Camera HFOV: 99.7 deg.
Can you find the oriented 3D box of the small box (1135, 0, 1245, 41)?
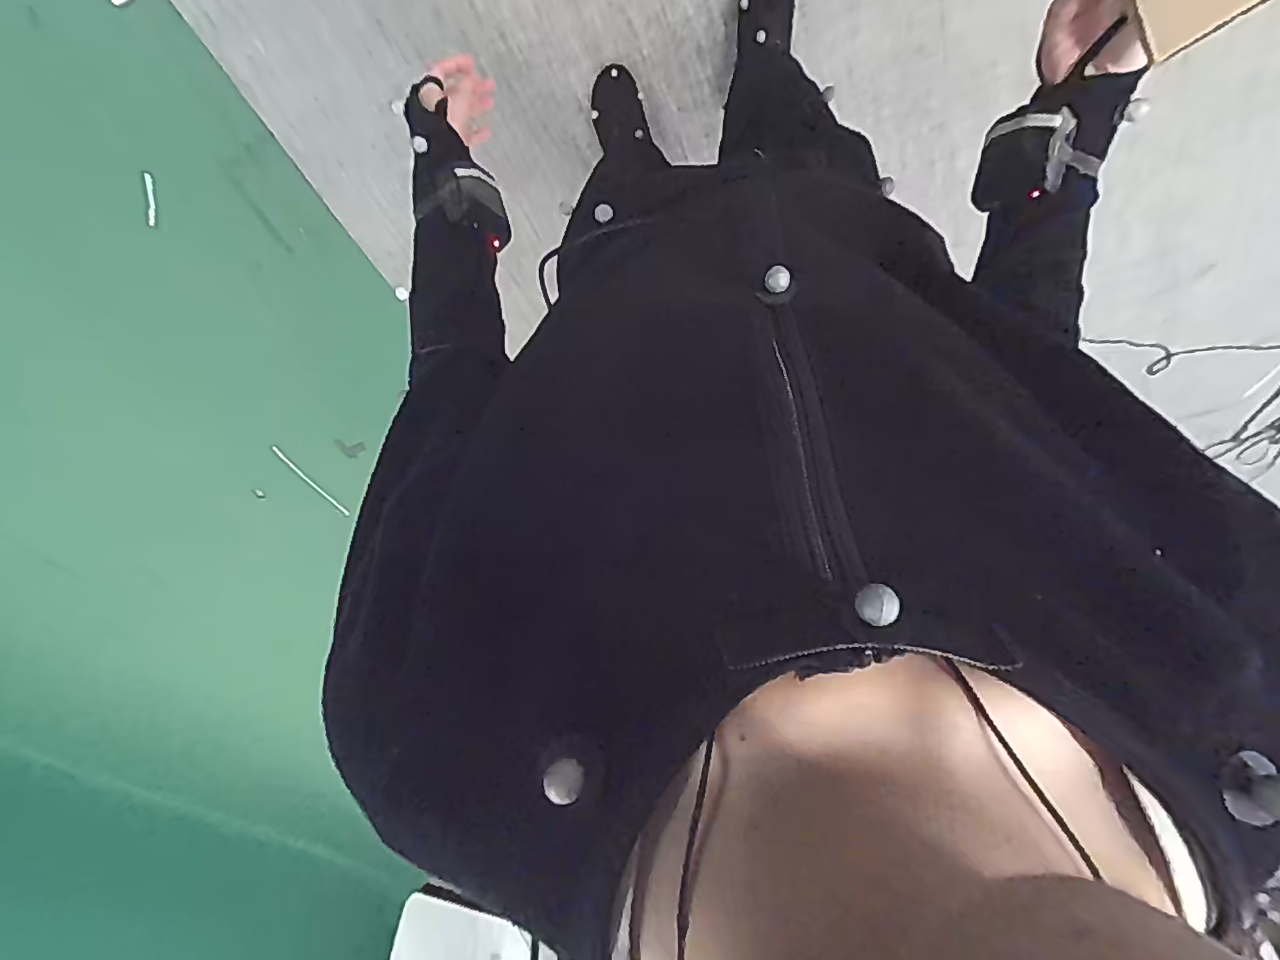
[{"bbox_3d":[0.307,-0.360,0.236,0.176,0.168,0.179,45,142,-22],"label":"small box"}]

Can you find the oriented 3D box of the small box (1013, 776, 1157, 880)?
[{"bbox_3d":[1.068,0.842,1.311,0.168,0.176,0.179,22,126,-21],"label":"small box"}]

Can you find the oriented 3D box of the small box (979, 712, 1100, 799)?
[{"bbox_3d":[1.062,0.748,1.448,0.168,0.176,0.179,33,120,-28],"label":"small box"}]
